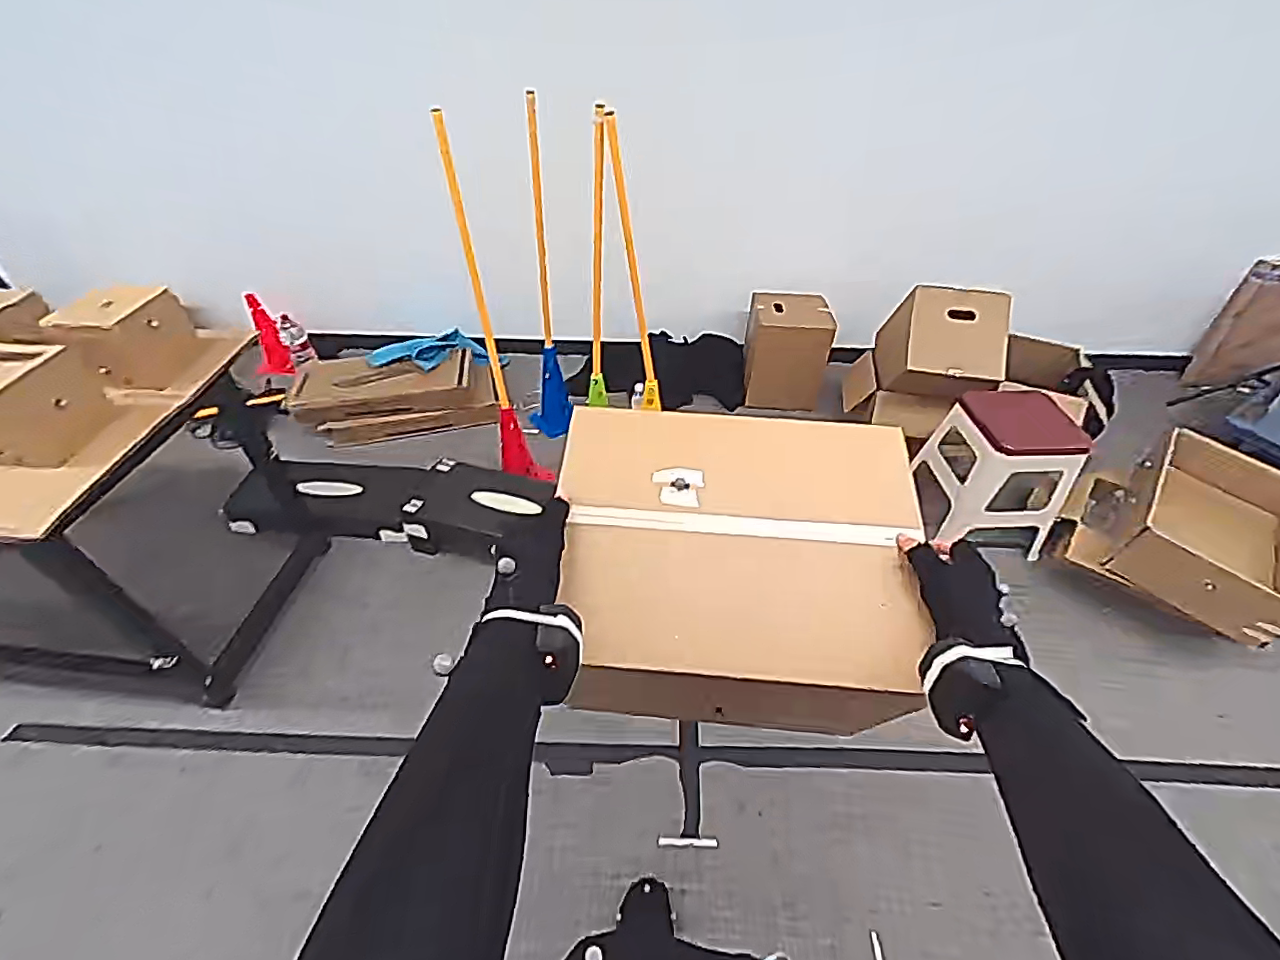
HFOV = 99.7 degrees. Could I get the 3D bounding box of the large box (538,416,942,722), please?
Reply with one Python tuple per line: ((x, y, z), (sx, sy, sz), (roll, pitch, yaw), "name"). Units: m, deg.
((0.110, 0.134, 0.733), (0.408, 0.320, 0.320), (4, 58, 3), "large box")
